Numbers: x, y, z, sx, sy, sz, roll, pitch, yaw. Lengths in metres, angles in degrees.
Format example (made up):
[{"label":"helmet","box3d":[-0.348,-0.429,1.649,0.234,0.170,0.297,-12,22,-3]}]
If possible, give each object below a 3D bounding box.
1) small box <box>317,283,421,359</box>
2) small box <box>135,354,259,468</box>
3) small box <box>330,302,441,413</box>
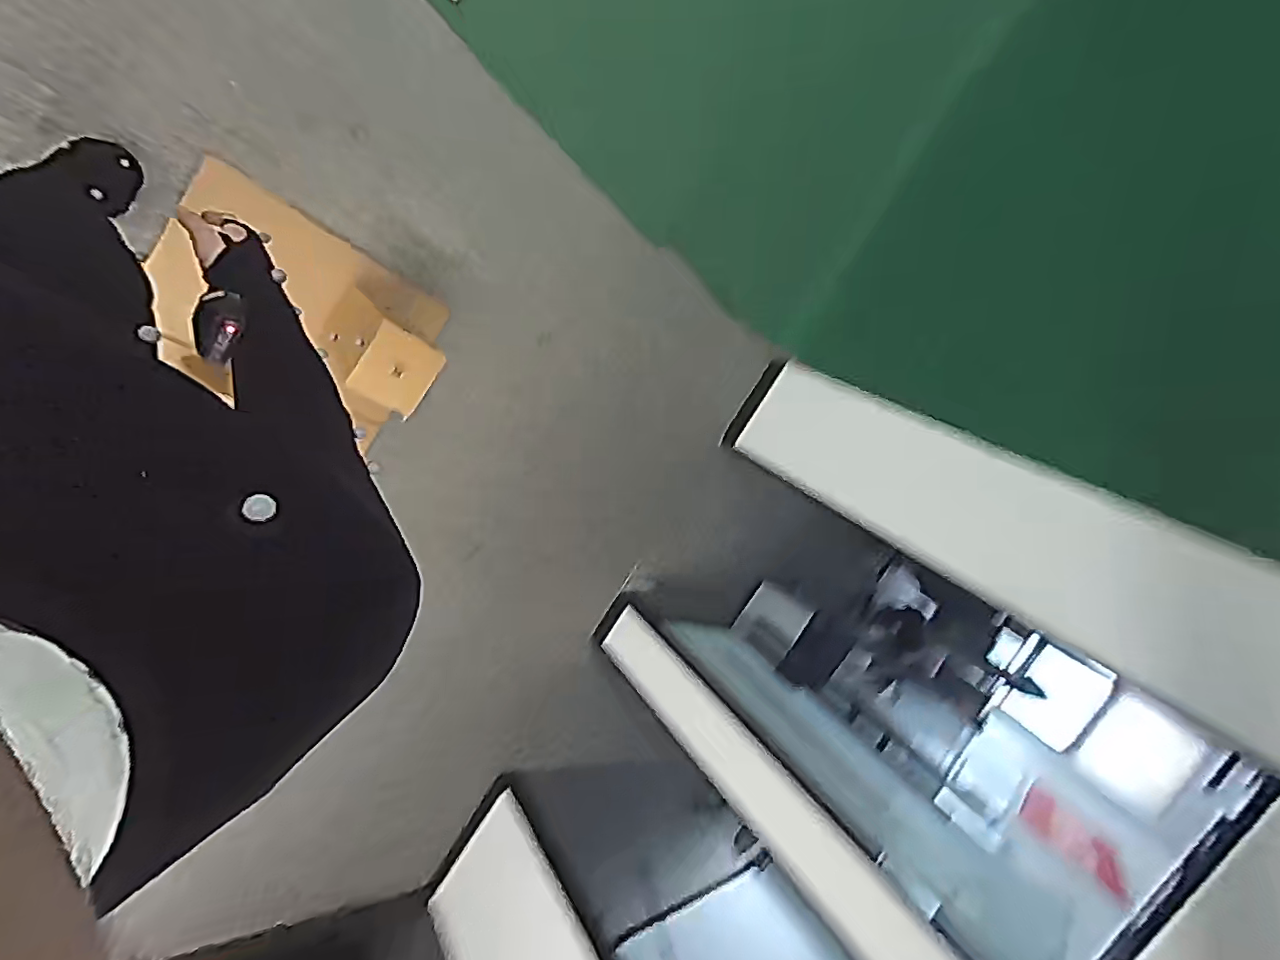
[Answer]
[{"label":"small box","box3d":[-0.711,-0.379,1.405,0.179,0.176,0.168,-55,140,4]},{"label":"small box","box3d":[-1.037,-0.164,1.270,0.179,0.176,0.168,-54,140,3]},{"label":"small box","box3d":[-0.618,-0.297,1.301,0.179,0.176,0.168,-55,139,3]}]
